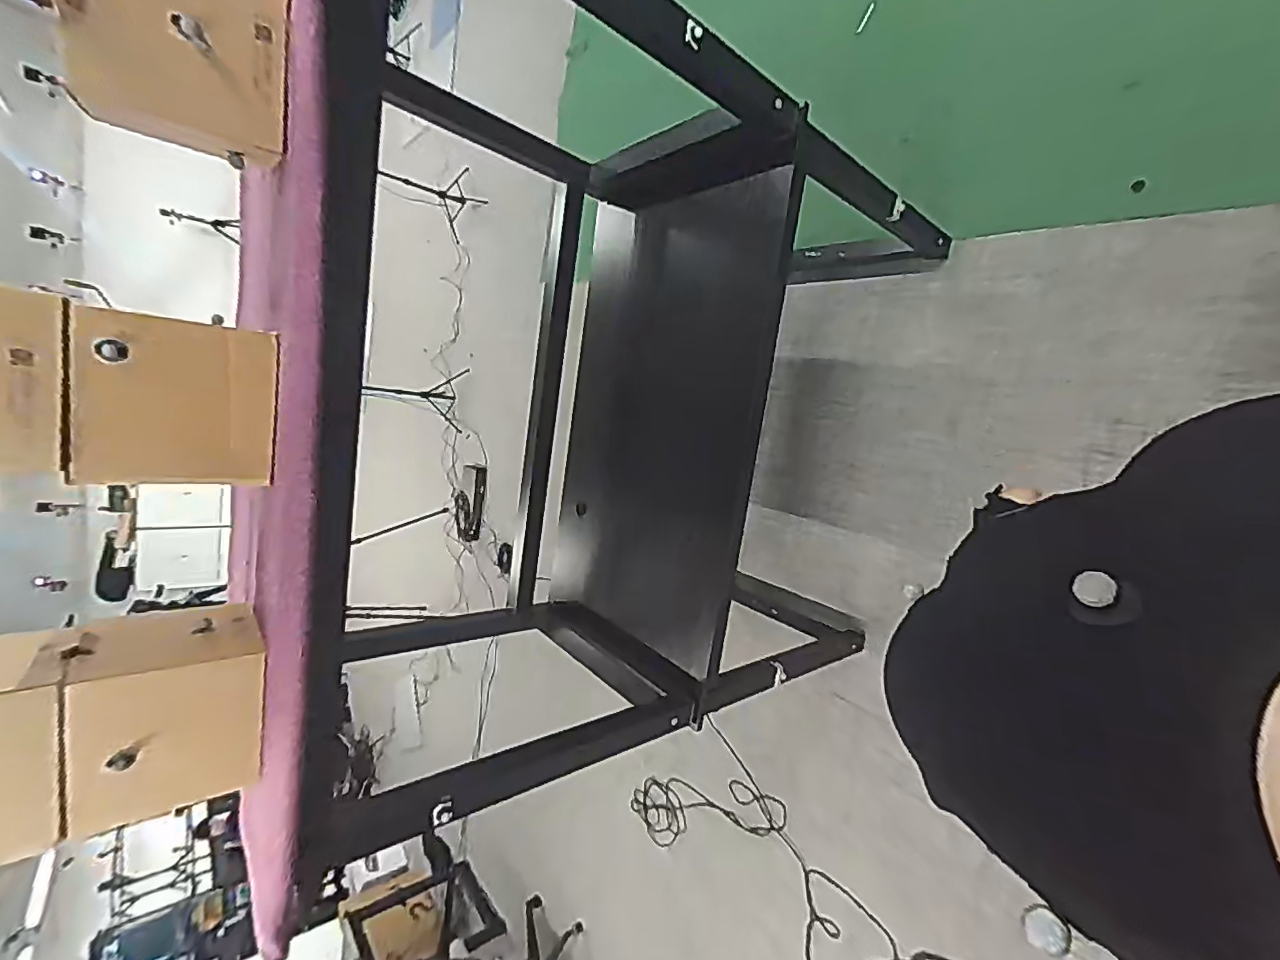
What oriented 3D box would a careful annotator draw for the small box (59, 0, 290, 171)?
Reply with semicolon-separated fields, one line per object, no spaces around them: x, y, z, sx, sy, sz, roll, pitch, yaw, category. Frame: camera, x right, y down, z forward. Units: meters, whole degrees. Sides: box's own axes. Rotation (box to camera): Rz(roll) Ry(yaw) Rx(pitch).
-0.476;-0.447;0.568;0.179;0.176;0.168;28;112;48;small box

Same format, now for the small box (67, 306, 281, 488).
-0.519;-0.091;0.620;0.168;0.176;0.179;17;102;49;small box

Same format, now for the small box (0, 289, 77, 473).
-0.643;-0.100;0.515;0.179;0.176;0.168;14;98;51;small box

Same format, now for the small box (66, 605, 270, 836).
-0.558;0.269;0.653;0.168;0.176;0.179;16;101;47;small box
